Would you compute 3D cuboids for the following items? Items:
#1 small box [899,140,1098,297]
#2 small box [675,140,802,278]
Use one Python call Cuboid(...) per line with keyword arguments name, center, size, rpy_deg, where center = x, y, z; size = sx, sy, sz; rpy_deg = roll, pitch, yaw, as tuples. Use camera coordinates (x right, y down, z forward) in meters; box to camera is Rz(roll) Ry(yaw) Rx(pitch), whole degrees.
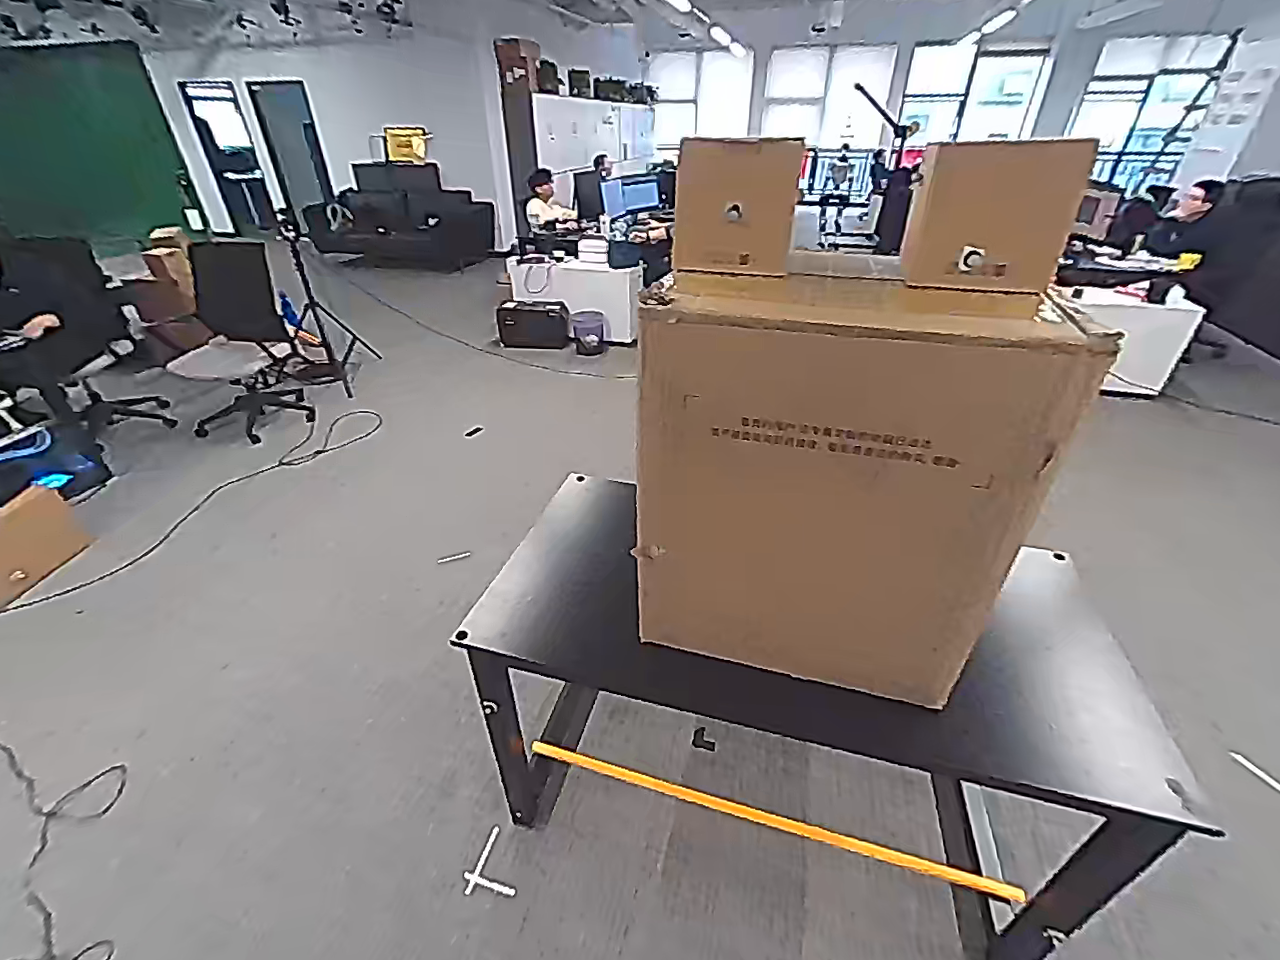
Cuboid(name="small box", center=(0.457, -0.354, 0.726), size=(0.168, 0.176, 0.179), rpy_deg=(8, 33, 17))
Cuboid(name="small box", center=(0.145, -0.407, 0.809), size=(0.168, 0.176, 0.179), rpy_deg=(7, 33, 9))
